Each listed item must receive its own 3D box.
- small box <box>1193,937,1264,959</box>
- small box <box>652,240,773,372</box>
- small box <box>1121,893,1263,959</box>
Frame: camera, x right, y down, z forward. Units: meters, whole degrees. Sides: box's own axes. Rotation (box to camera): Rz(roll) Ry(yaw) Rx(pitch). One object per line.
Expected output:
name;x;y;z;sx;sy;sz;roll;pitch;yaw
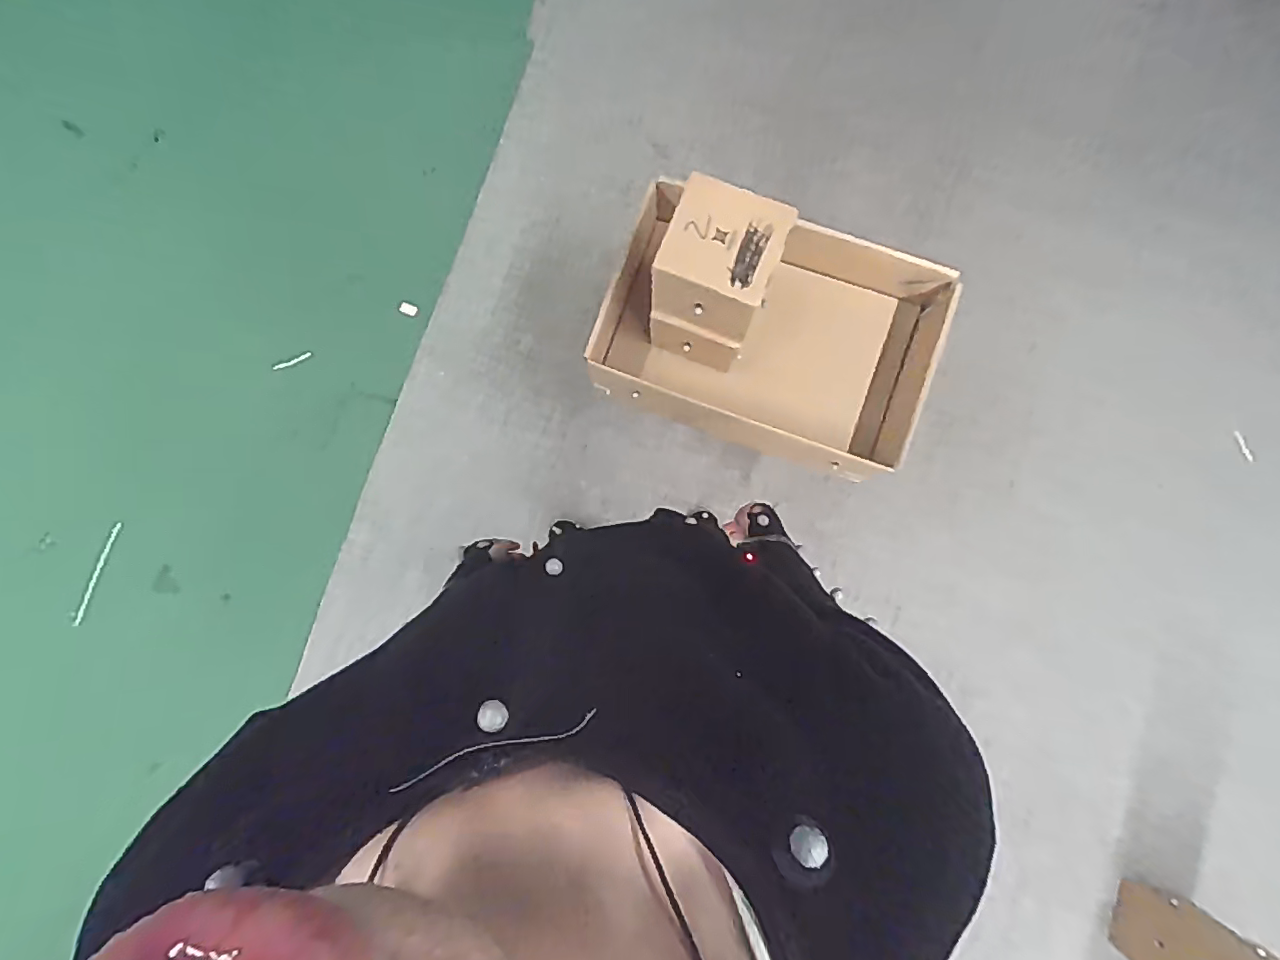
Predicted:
small box;1.313;1.125;1.135;0.168;0.176;0.179;18;85;5
small box;0.134;-0.326;1.053;0.179;0.176;0.168;21;86;4
small box;1.316;1.151;1.297;0.168;0.176;0.179;18;86;4
